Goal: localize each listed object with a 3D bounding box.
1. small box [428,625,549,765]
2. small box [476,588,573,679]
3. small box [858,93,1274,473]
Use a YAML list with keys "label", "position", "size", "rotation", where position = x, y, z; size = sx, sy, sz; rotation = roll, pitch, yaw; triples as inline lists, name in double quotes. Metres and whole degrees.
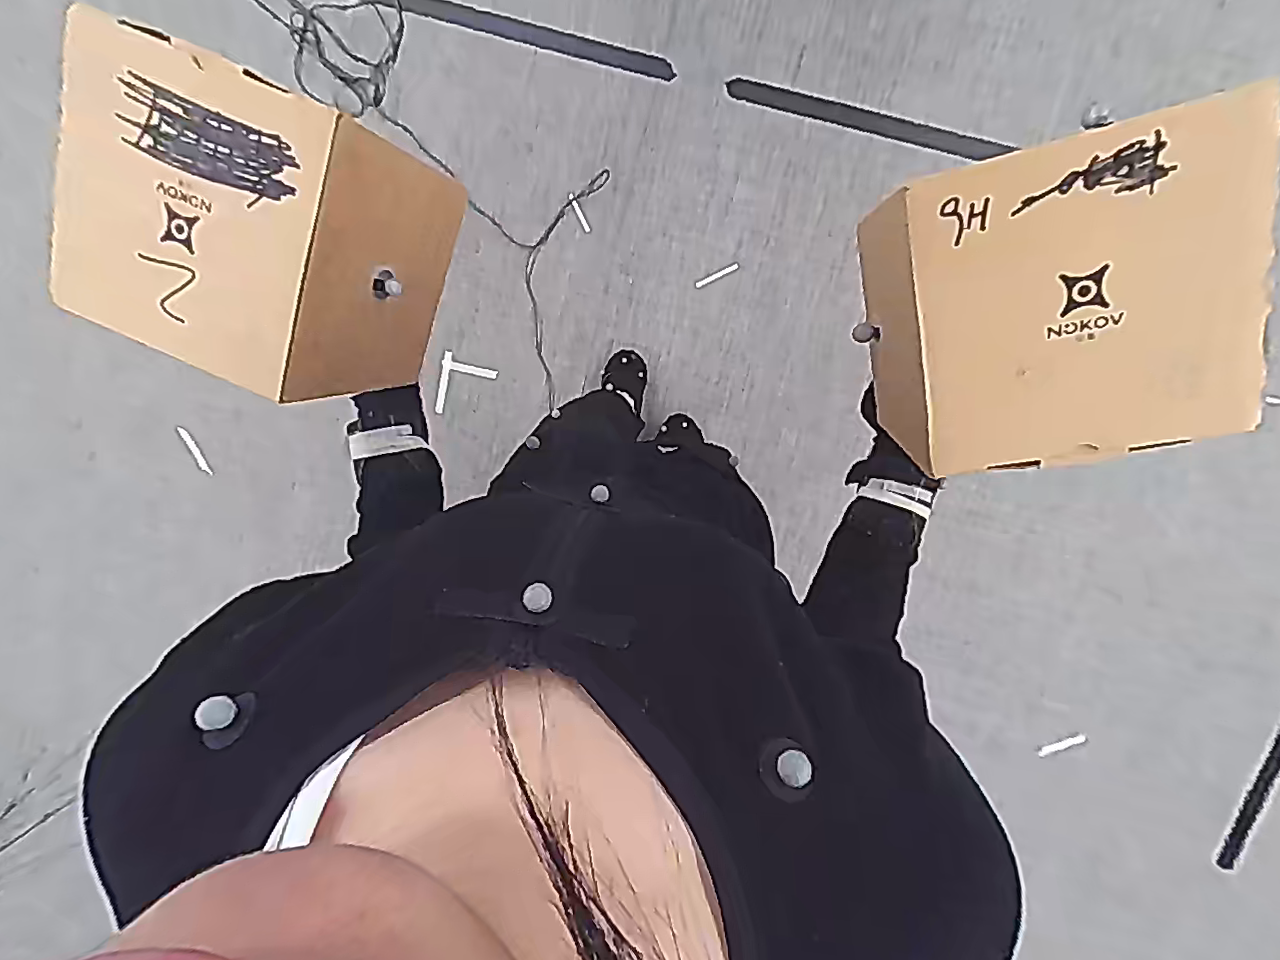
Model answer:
- label: "small box"
  position: [-0.273, 0.389, 1.009]
  size: [0.168, 0.176, 0.179]
  rotation: [8, 98, 4]
- label: "small box"
  position: [-0.261, 0.354, 1.168]
  size: [0.179, 0.176, 0.168]
  rotation: [24, 98, 2]
- label: "small box"
  position: [0.259, -0.122, 0.378]
  size: [0.168, 0.176, 0.179]
  rotation: [-9, 106, 14]
